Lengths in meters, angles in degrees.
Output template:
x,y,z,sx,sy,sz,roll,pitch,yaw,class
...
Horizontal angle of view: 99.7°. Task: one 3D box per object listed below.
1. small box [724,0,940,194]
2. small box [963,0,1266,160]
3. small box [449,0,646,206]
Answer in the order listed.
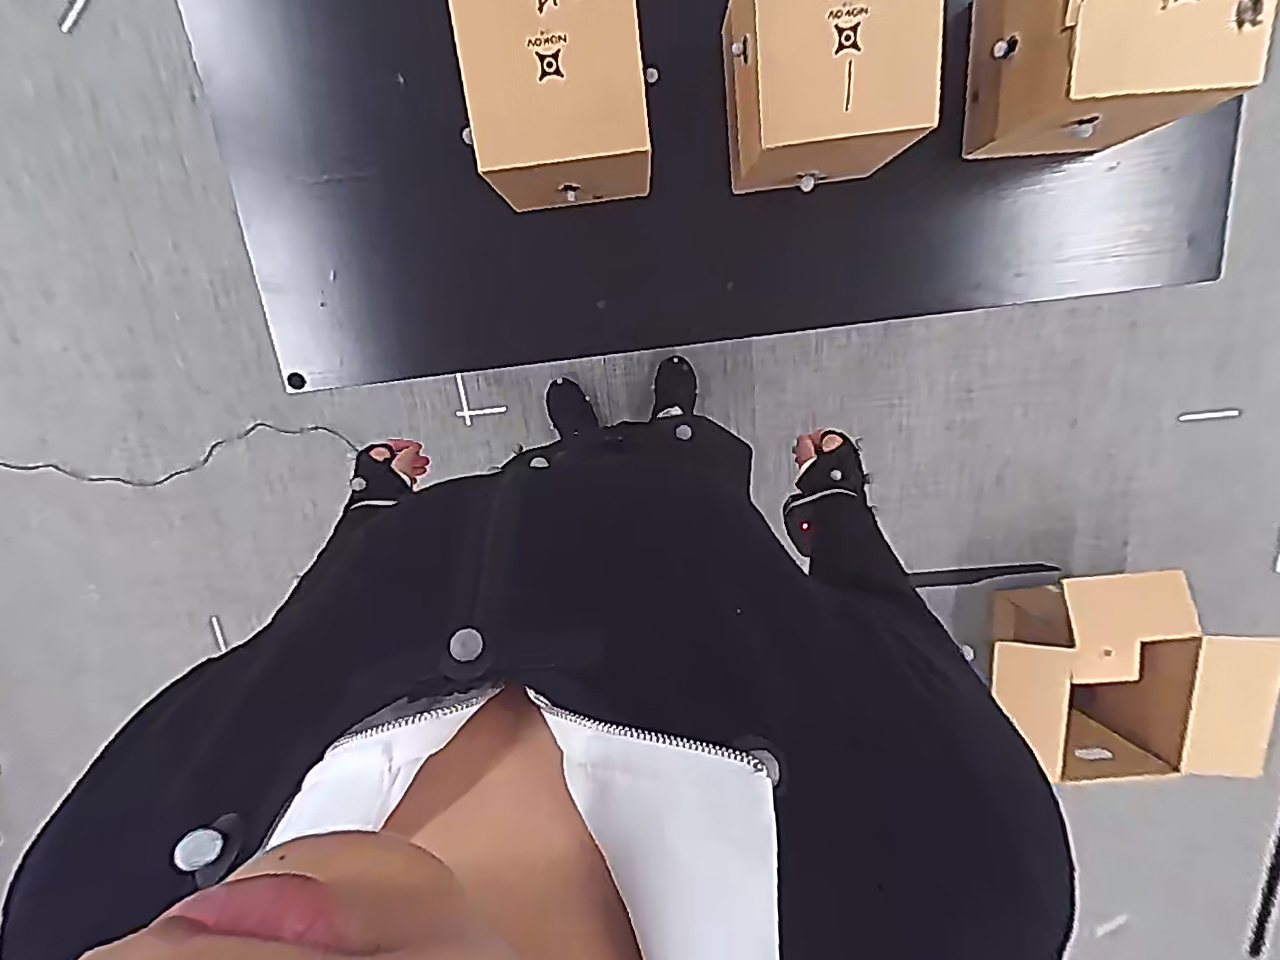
x,y,z,sx,sy,sz,roll,pitch,yaw,class
0.183,-0.419,0.558,0.168,0.176,0.179,-6,105,2,small box
0.462,-0.445,0.551,0.179,0.176,0.168,-3,104,3,small box
-0.081,-0.399,0.564,0.168,0.176,0.179,-6,104,1,small box
